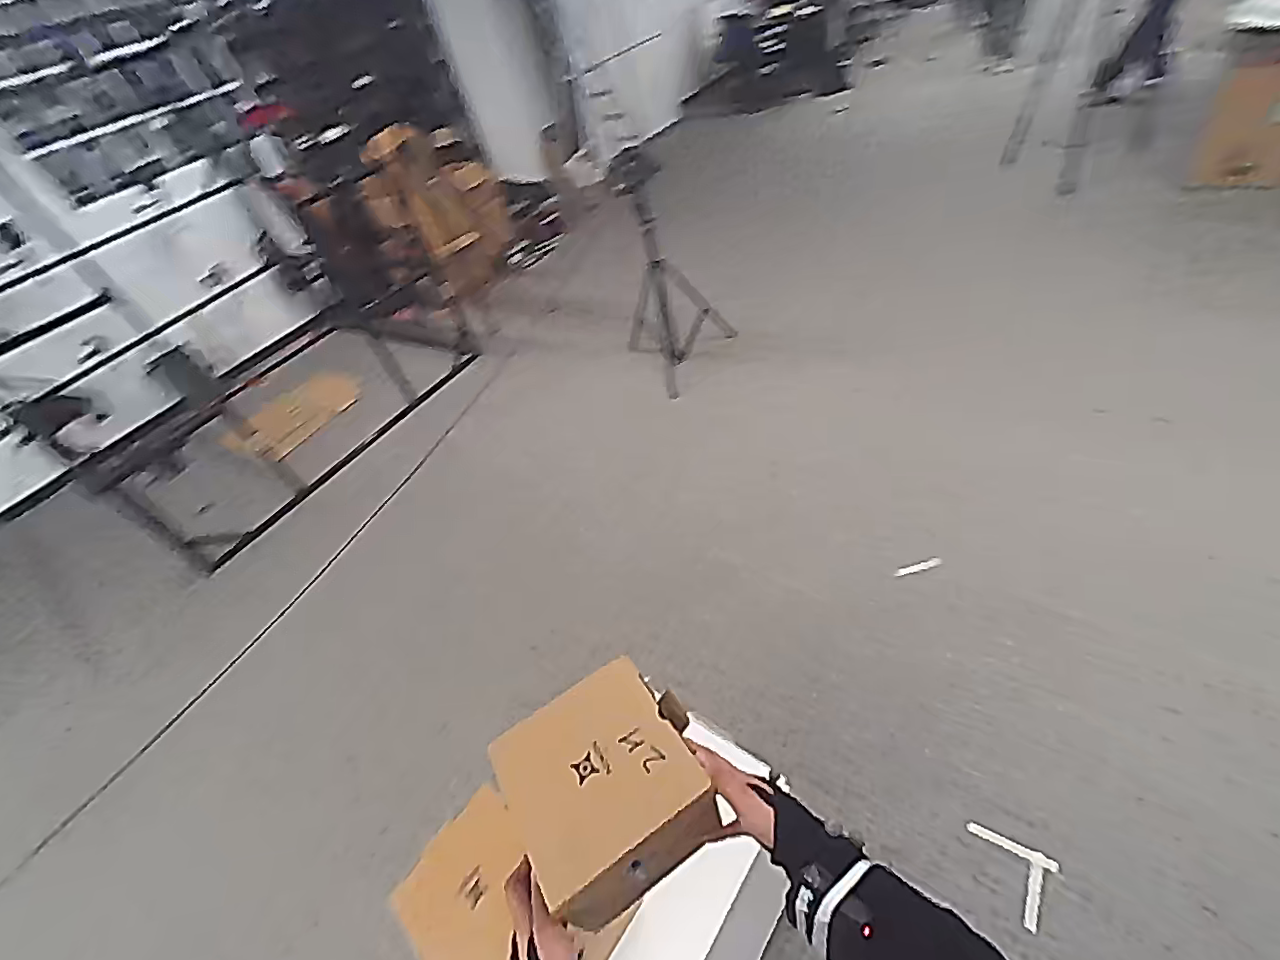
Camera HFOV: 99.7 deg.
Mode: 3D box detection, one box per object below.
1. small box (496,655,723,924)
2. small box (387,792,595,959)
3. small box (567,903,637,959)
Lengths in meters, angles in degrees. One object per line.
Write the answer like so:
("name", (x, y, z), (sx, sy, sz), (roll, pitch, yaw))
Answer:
("small box", (-0.025, 0.336, 0.588), (0.179, 0.176, 0.168), (-29, 46, -16))
("small box", (-0.178, 0.555, 0.702), (0.179, 0.176, 0.168), (21, 56, 37))
("small box", (-0.127, 0.657, 0.819), (0.168, 0.176, 0.179), (20, 54, 35))
